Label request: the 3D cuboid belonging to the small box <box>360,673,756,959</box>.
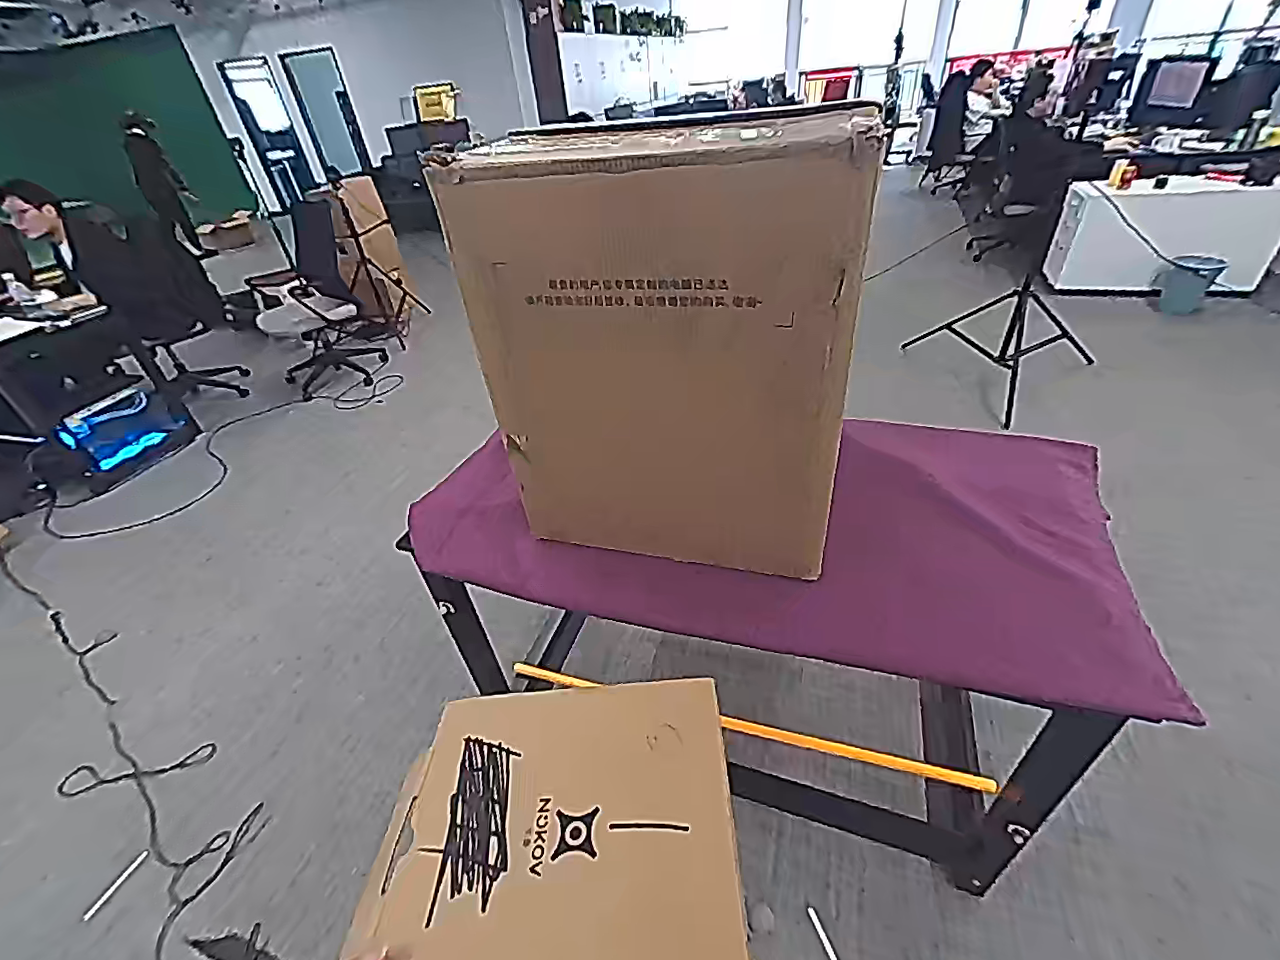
[{"bbox_3d":[-0.026,0.240,0.318,0.179,0.176,0.168,-7,34,5],"label":"small box"}]
